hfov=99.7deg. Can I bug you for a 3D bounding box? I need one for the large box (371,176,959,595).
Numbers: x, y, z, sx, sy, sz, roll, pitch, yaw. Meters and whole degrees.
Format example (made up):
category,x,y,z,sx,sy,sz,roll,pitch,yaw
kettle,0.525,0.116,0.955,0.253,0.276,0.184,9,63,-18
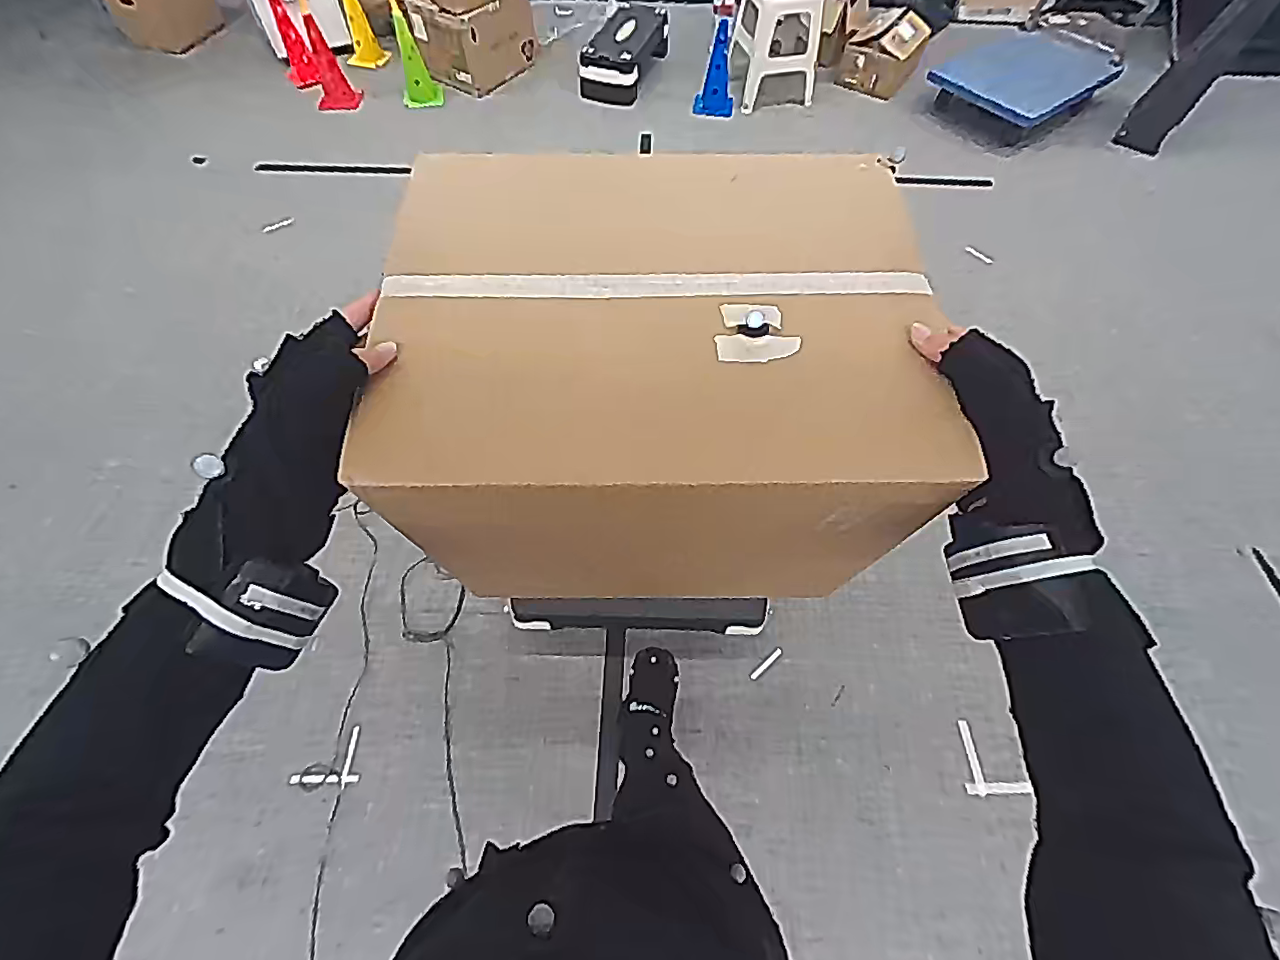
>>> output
category,x,y,z,sx,sy,sz,roll,pitch,yaw
large box,0.013,-0.073,0.557,0.408,0.320,0.320,0,65,-1
